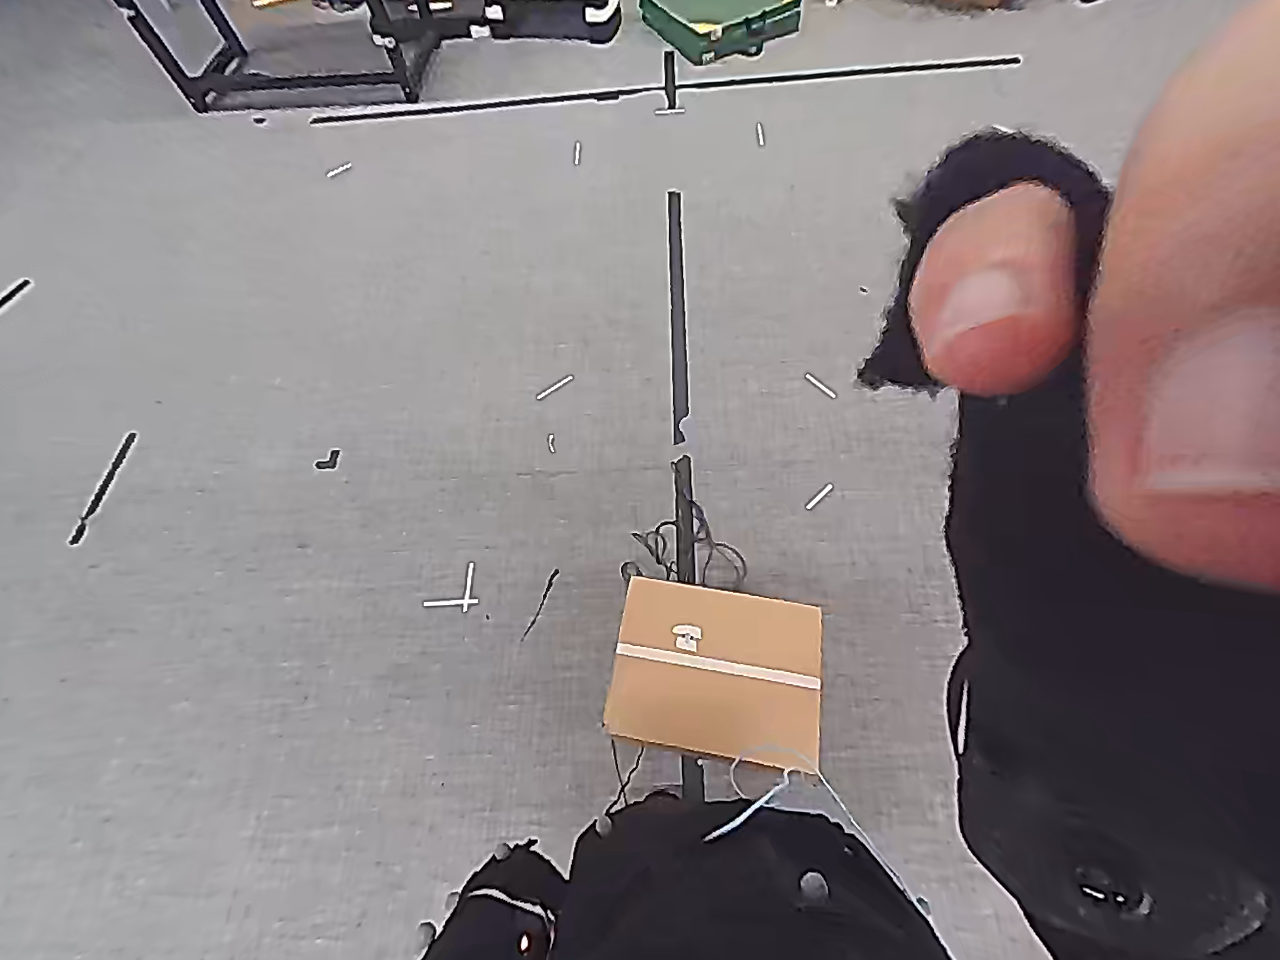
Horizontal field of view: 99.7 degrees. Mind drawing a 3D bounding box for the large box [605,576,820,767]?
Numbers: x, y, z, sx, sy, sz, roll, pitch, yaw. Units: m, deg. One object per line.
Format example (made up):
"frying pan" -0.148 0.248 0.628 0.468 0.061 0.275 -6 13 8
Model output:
"large box" 0.162 0.435 1.207 0.408 0.320 0.320 8 61 7
